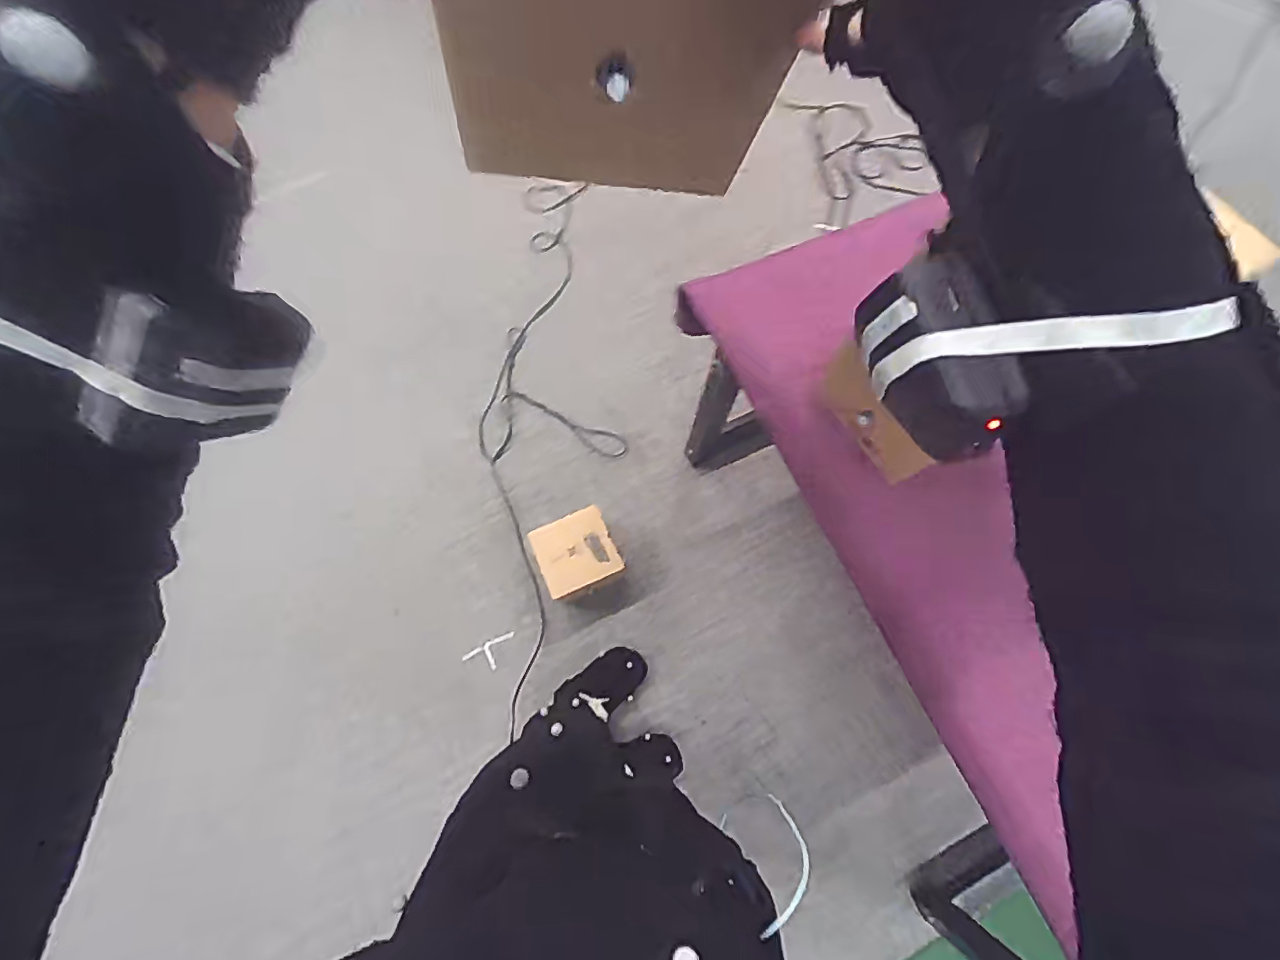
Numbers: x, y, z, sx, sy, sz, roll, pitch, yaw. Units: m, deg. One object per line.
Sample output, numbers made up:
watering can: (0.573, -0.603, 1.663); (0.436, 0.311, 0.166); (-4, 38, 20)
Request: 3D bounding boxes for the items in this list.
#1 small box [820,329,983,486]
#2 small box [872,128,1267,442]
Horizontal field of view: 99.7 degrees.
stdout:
small box: (0.351, -0.116, 0.642); (0.179, 0.176, 0.168); (-29, 78, -11)
small box: (0.353, -0.153, 0.483); (0.168, 0.176, 0.179); (-34, 78, -11)
